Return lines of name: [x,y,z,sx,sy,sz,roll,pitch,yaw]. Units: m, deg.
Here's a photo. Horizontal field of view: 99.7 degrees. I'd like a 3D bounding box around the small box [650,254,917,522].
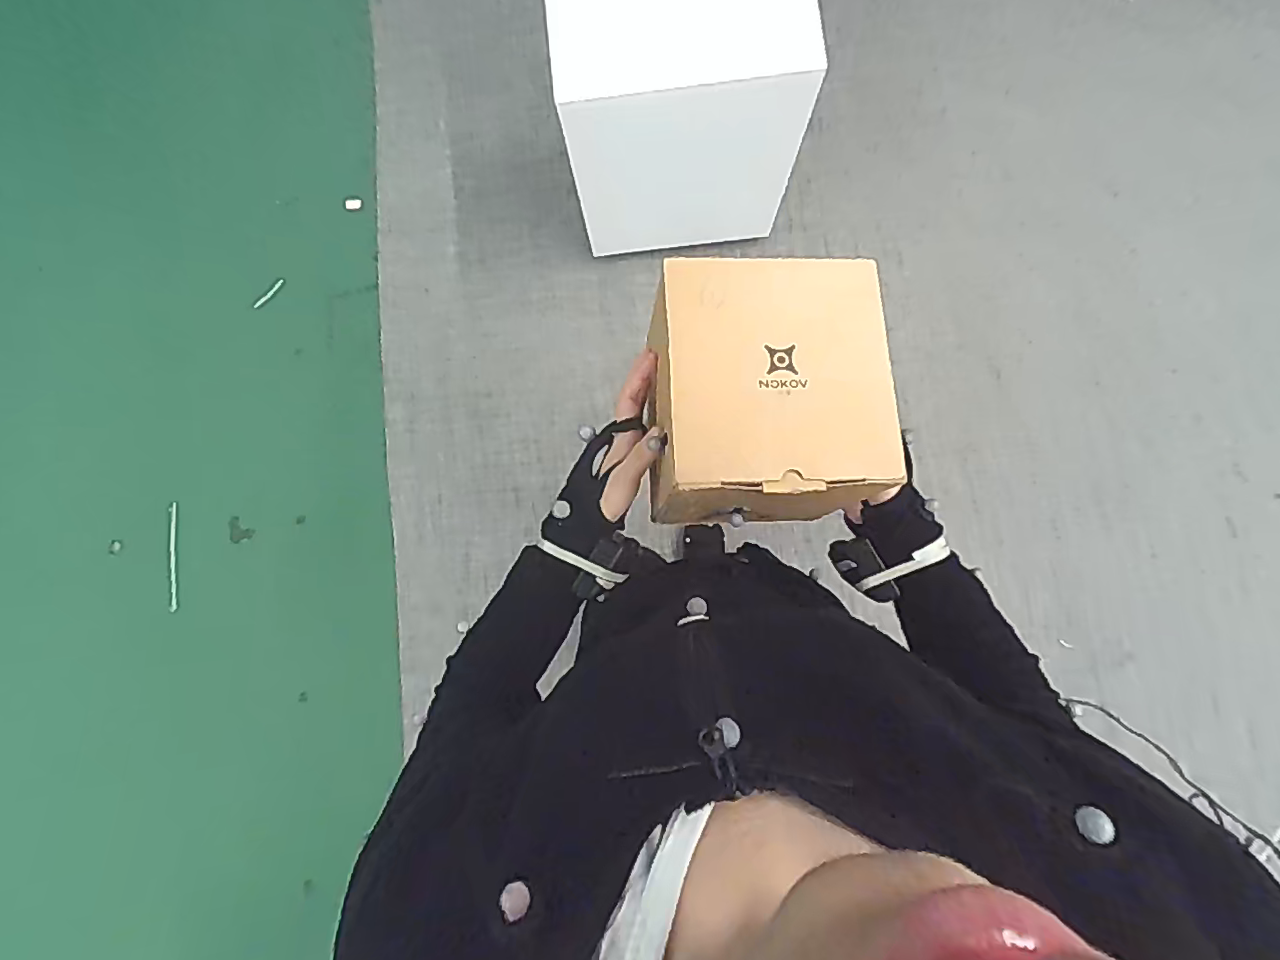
small box: [0.100,-0.066,0.462,0.168,0.176,0.179,-3,77,-4]
